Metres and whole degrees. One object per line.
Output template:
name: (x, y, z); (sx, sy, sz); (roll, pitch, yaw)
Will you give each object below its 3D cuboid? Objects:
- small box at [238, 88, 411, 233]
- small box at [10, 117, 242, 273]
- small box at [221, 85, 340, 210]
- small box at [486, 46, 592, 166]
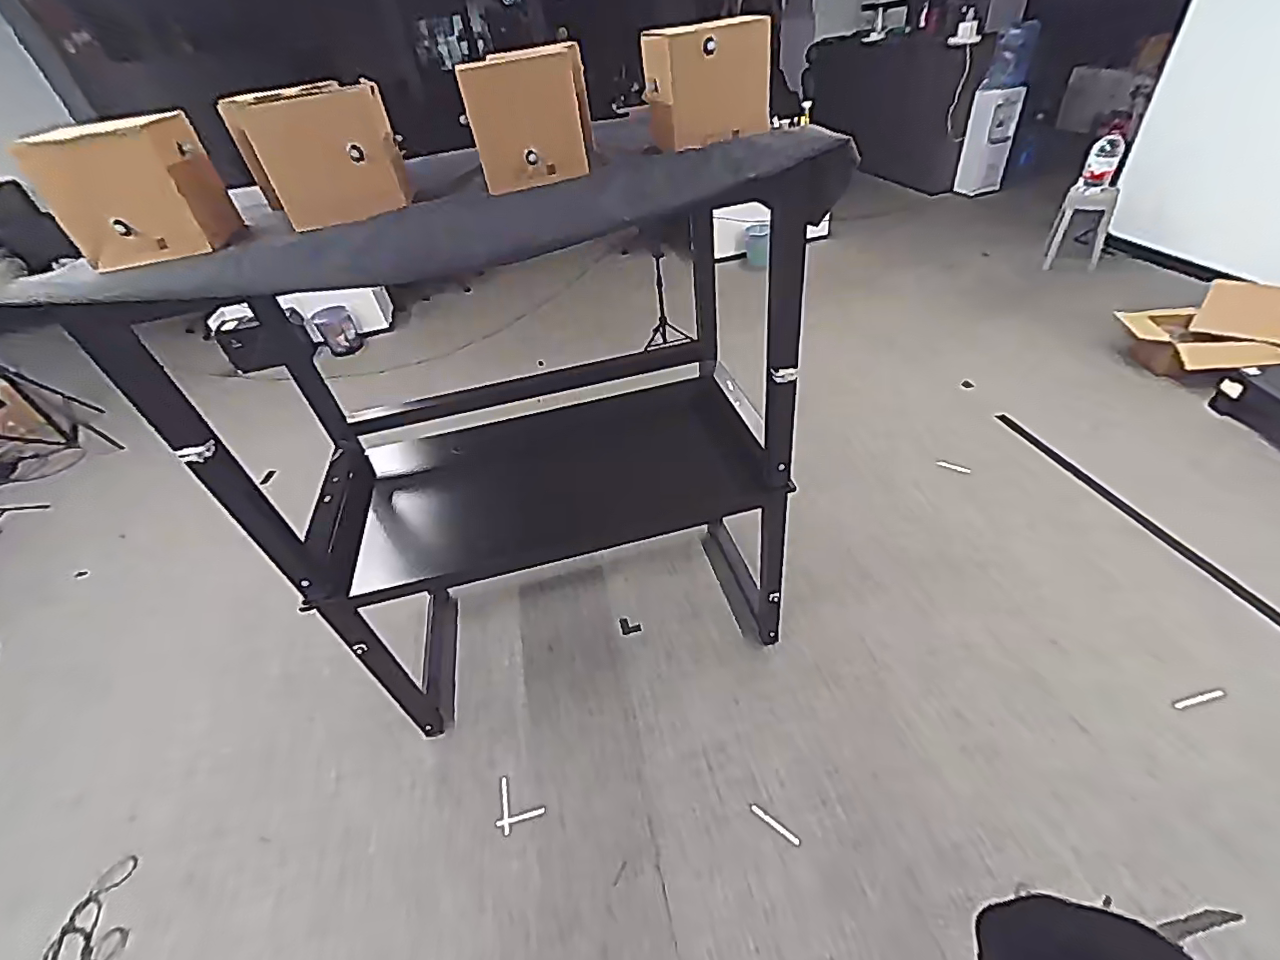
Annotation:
small box: (-0.480, -0.509, 0.859); (0.179, 0.176, 0.168); (-14, 38, -9)
small box: (-0.750, -0.433, 0.821); (0.168, 0.176, 0.179); (-16, 41, -8)
small box: (-0.628, -0.624, 1.020); (0.168, 0.176, 0.179); (-13, 40, -5)
small box: (-0.196, -0.733, 1.062); (0.168, 0.176, 0.179); (-13, 40, -4)
